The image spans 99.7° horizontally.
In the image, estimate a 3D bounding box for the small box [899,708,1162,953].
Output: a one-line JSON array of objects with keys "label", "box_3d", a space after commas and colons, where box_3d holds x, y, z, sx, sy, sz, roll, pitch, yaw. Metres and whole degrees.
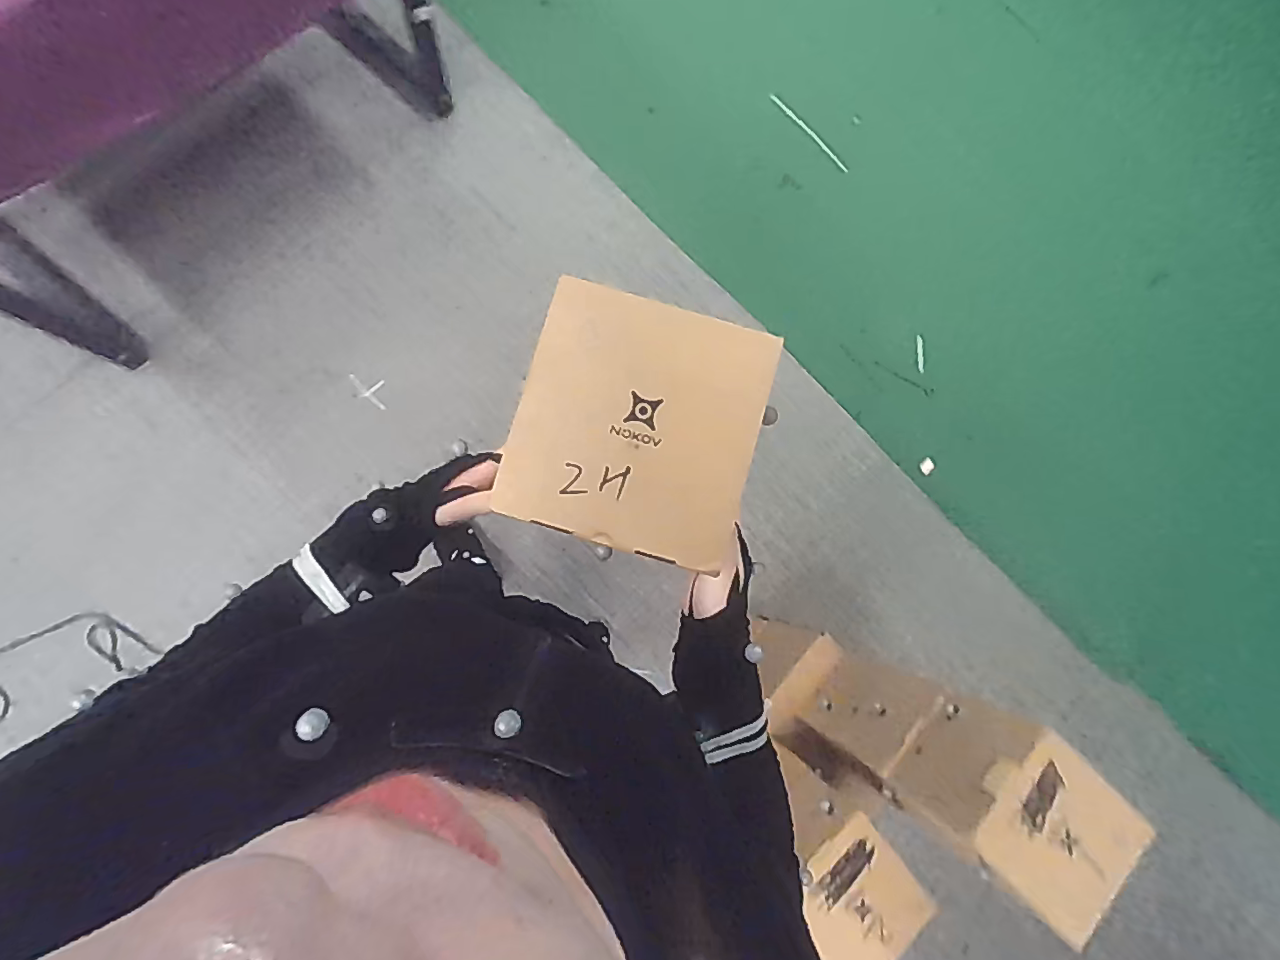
[{"label": "small box", "box_3d": [0.477, 0.418, 0.689, 0.179, 0.176, 0.168, 45, 80, 0]}]

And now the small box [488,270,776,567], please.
[{"label": "small box", "box_3d": [-0.005, -0.037, 0.451, 0.168, 0.176, 0.179, 15, 84, 1]}]

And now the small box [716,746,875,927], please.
[{"label": "small box", "box_3d": [0.266, 0.615, 0.961, 0.168, 0.176, 0.179, -38, 88, -13]}]

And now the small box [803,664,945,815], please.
[{"label": "small box", "box_3d": [0.441, 0.468, 1.012, 0.168, 0.176, 0.179, -43, 89, -10]}]
